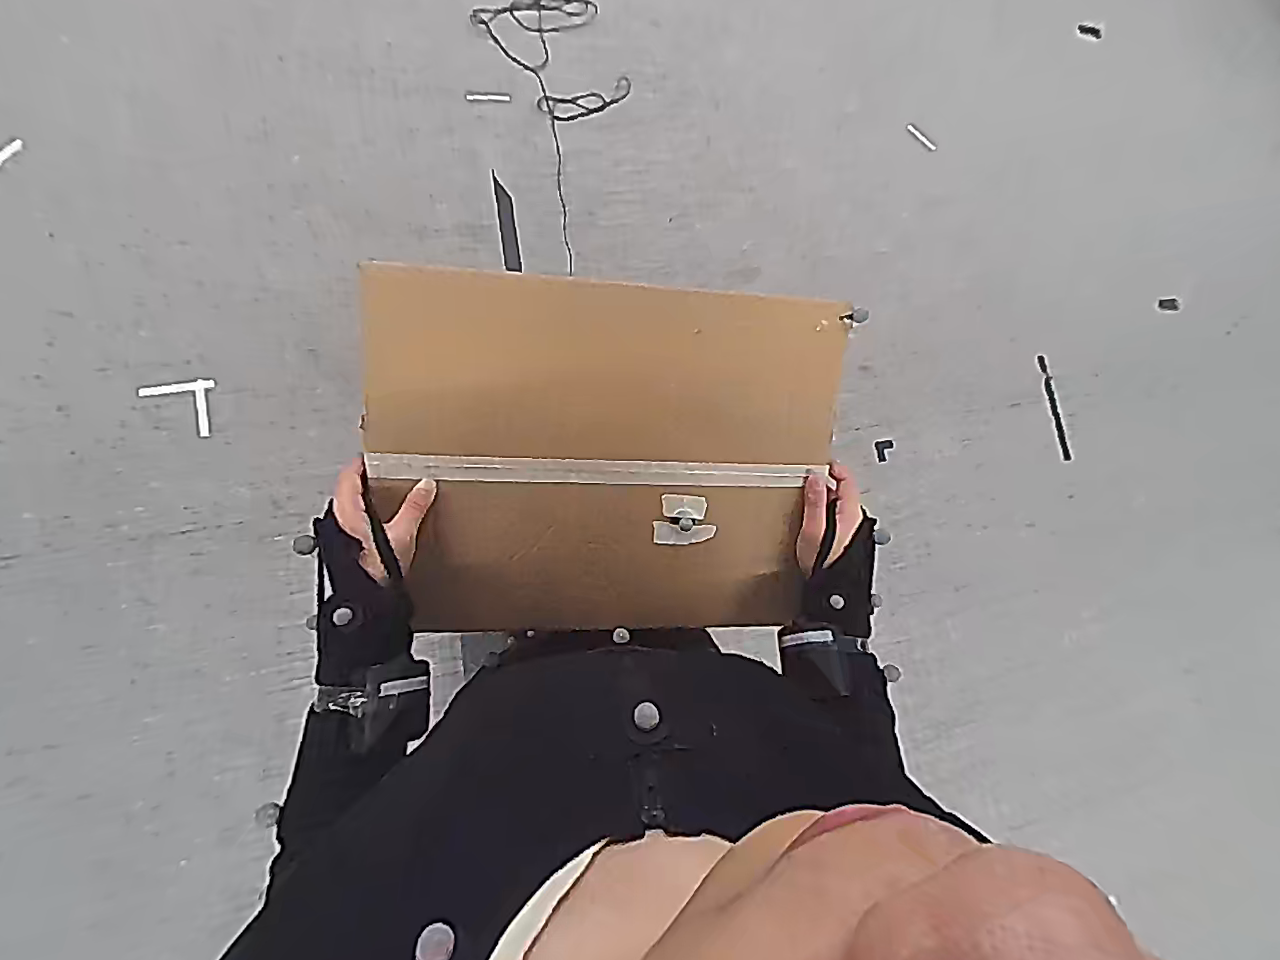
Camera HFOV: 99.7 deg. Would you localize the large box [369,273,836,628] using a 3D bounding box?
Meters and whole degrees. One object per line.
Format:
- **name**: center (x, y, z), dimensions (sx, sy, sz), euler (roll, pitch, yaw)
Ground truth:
- **large box**: center (-0.050, -0.050, 0.632), dimensions (0.408, 0.320, 0.320), euler (0, 106, -11)
